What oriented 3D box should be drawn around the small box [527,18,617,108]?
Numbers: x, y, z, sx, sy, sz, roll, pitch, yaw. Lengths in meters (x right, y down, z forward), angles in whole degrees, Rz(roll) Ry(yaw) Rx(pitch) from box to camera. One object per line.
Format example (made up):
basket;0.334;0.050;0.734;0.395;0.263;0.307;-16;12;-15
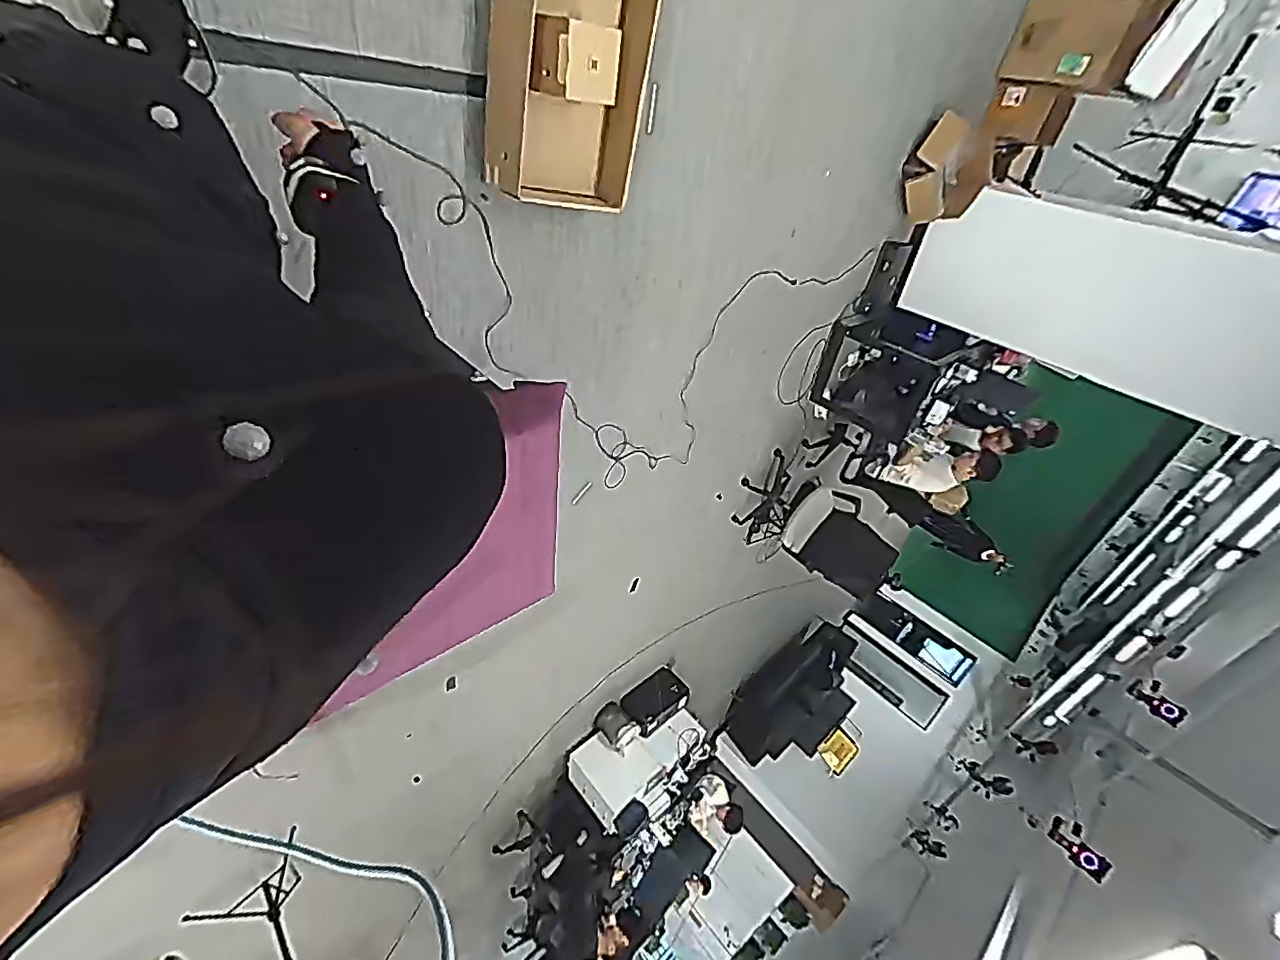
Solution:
small box;-0.187;-1.120;1.452;0.179;0.176;0.168;-23;139;-37
